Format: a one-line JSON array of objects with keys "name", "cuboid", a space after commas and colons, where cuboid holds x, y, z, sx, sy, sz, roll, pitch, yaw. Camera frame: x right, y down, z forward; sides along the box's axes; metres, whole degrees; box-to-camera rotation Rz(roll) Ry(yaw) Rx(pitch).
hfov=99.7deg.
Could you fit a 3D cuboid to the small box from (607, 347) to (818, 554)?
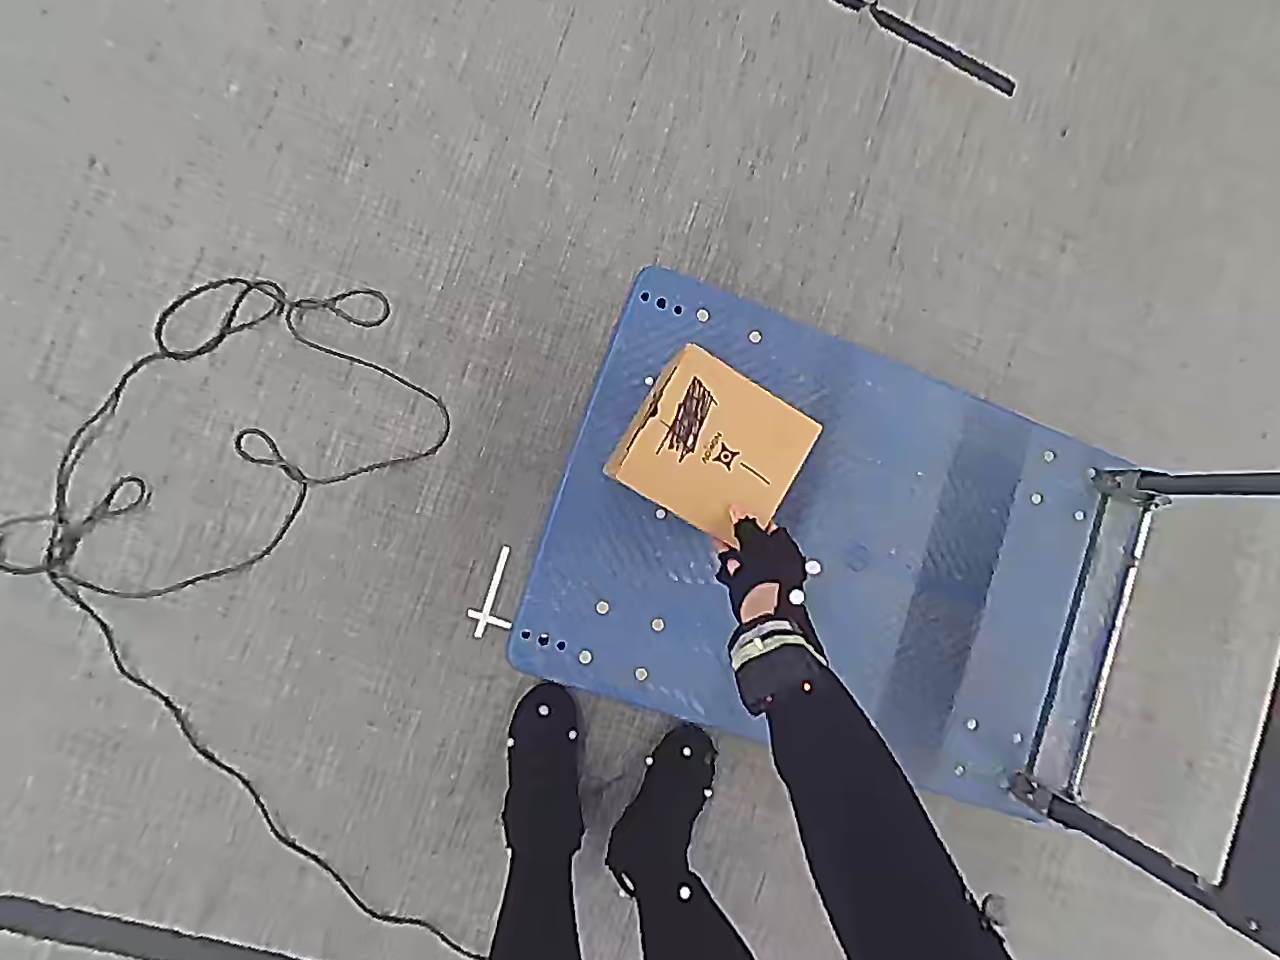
[{"name": "small box", "cuboid": [0.073, -0.032, 0.660, 0.179, 0.176, 0.168, 32, 88, -8]}]
